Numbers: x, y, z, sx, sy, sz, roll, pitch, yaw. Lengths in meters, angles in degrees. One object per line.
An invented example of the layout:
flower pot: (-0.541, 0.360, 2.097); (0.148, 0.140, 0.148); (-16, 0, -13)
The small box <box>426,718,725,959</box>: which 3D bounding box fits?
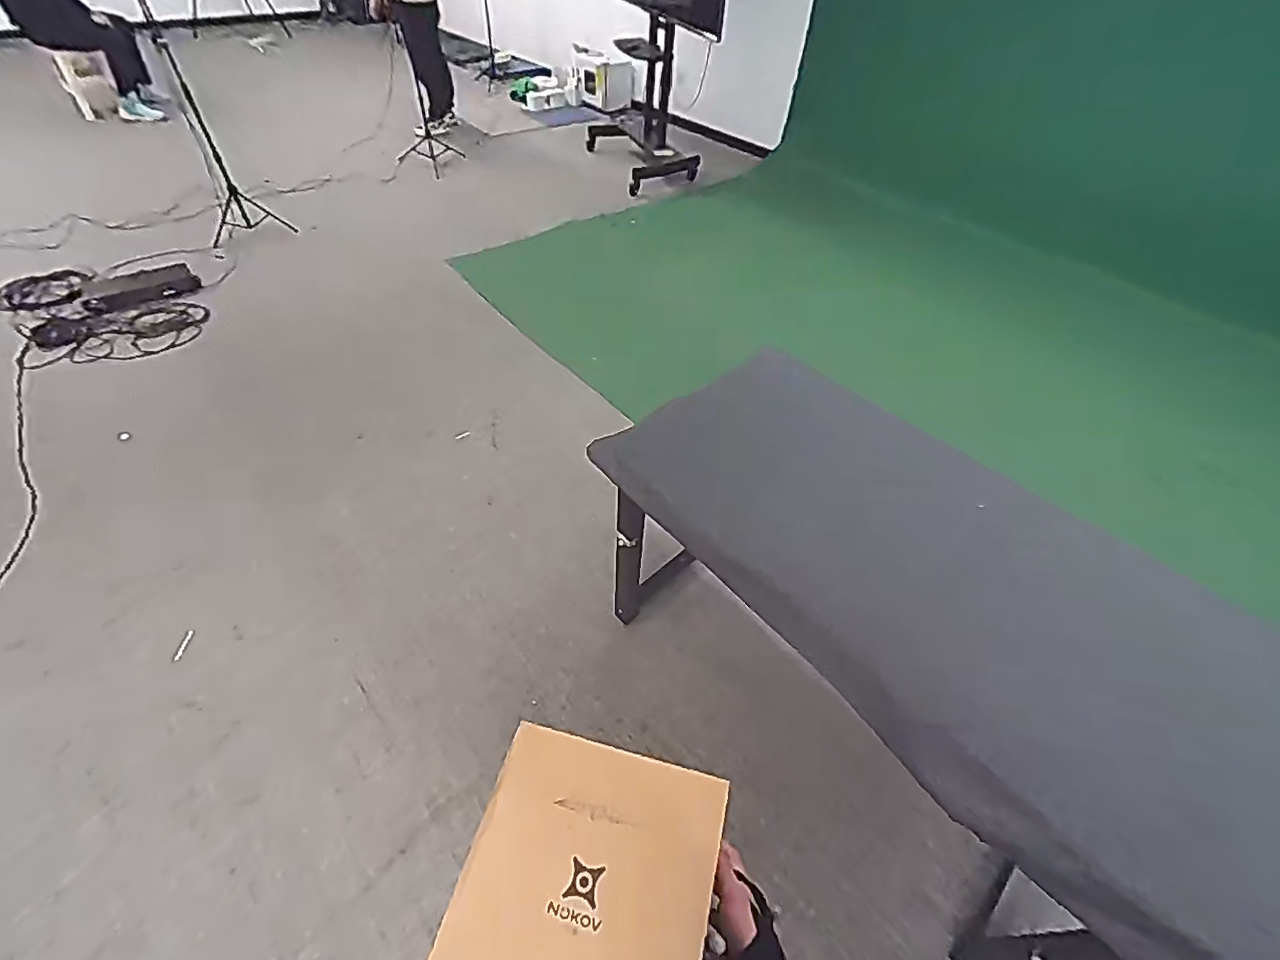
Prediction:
small box: (-0.034, 0.315, 0.419); (0.168, 0.176, 0.179); (11, 53, 11)
